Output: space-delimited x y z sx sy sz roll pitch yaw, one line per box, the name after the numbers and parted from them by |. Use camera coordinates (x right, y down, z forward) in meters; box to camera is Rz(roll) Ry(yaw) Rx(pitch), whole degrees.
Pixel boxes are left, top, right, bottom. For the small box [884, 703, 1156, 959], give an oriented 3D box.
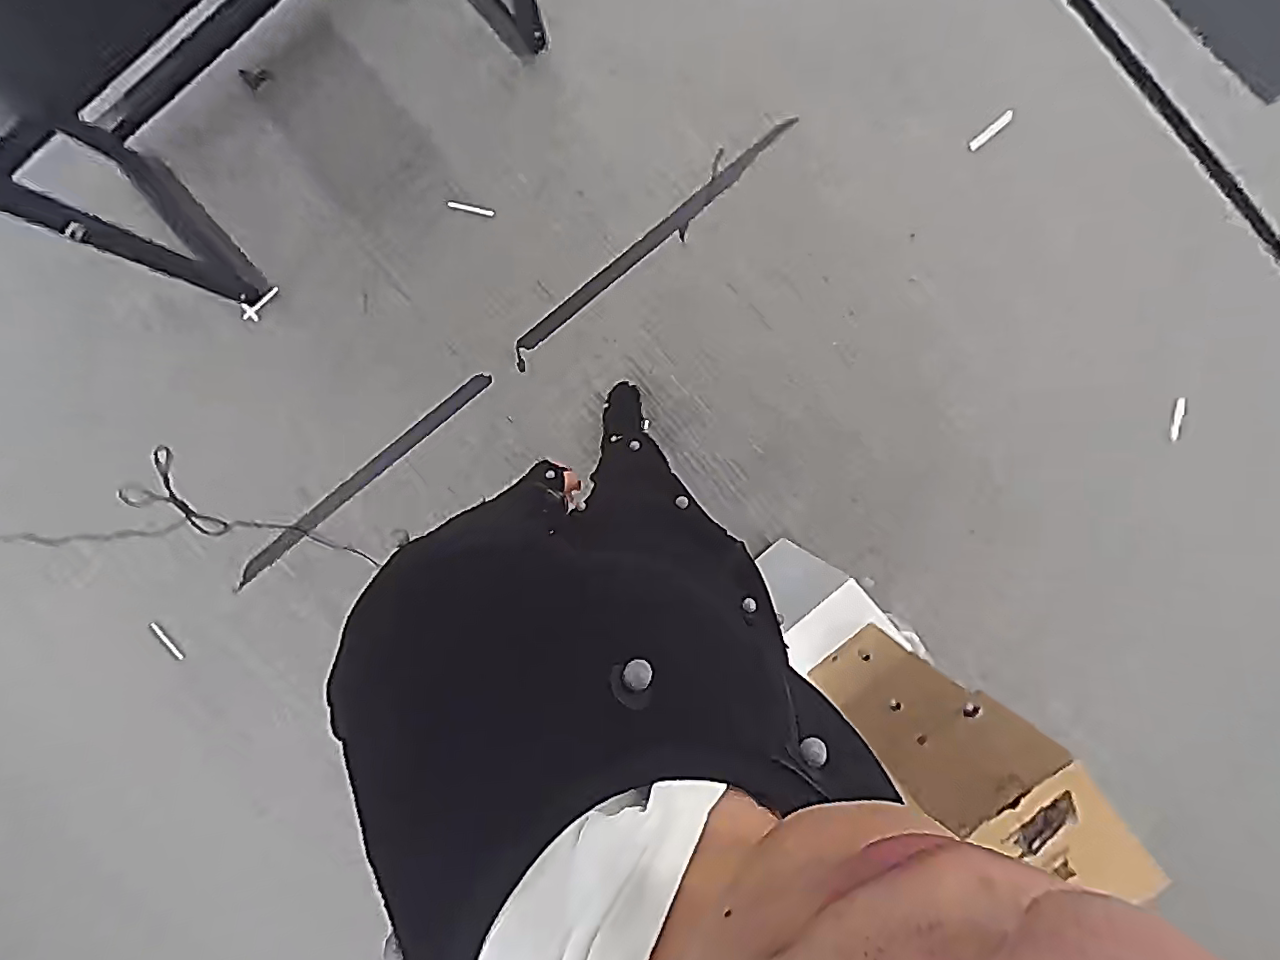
0.436 0.401 0.655 0.168 0.176 0.179 -36 93 2 | small box

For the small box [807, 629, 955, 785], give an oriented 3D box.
0.435 0.395 0.984 0.168 0.176 0.179 -40 92 2 | small box
